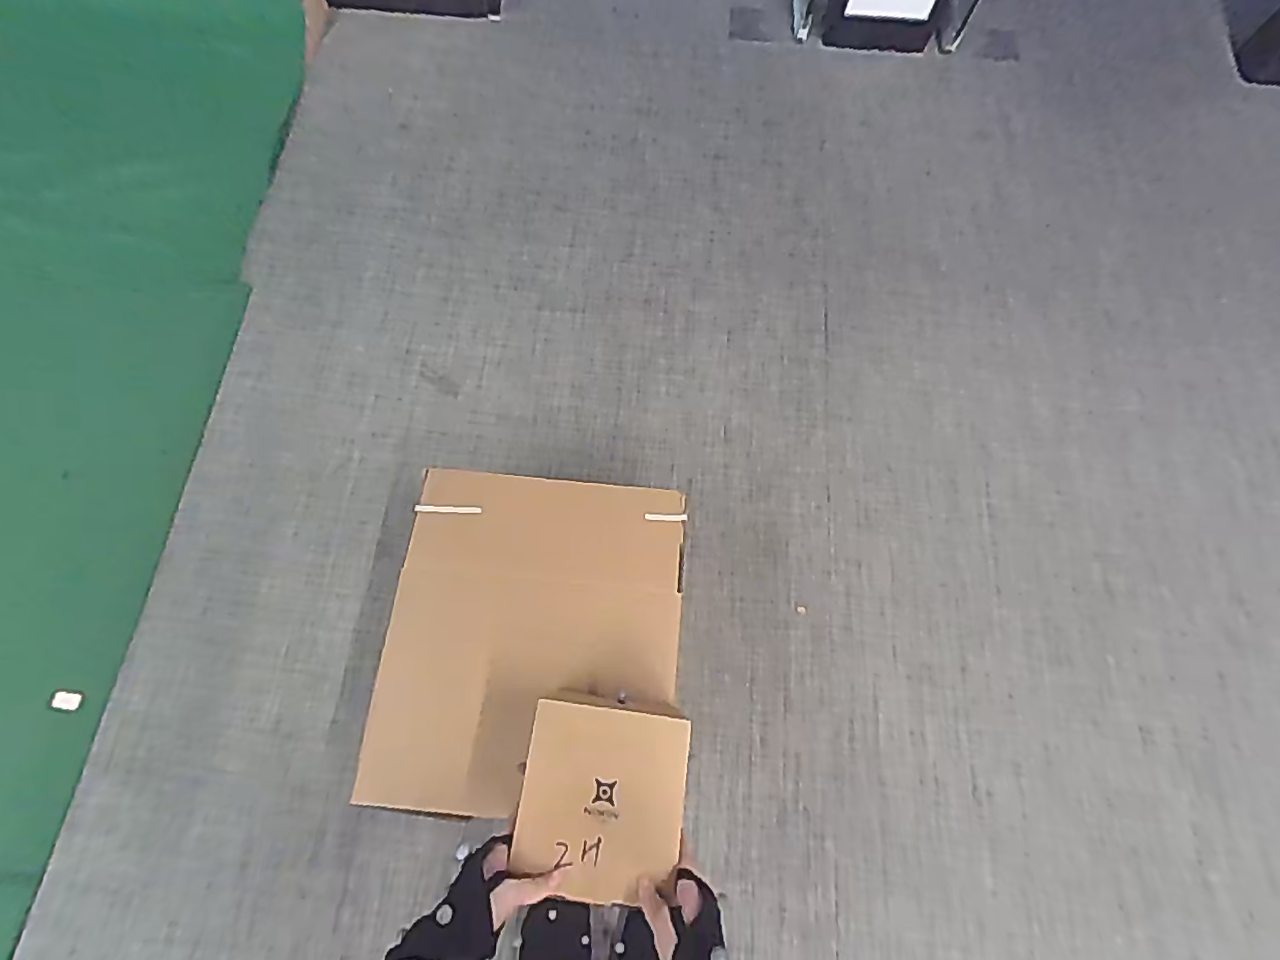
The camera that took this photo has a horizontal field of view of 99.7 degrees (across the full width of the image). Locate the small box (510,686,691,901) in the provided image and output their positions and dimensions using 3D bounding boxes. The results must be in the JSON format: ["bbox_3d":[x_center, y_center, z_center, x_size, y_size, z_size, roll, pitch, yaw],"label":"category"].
[{"bbox_3d":[-0.040,0.342,0.627,0.168,0.176,0.179,7,72,0],"label":"small box"}]
